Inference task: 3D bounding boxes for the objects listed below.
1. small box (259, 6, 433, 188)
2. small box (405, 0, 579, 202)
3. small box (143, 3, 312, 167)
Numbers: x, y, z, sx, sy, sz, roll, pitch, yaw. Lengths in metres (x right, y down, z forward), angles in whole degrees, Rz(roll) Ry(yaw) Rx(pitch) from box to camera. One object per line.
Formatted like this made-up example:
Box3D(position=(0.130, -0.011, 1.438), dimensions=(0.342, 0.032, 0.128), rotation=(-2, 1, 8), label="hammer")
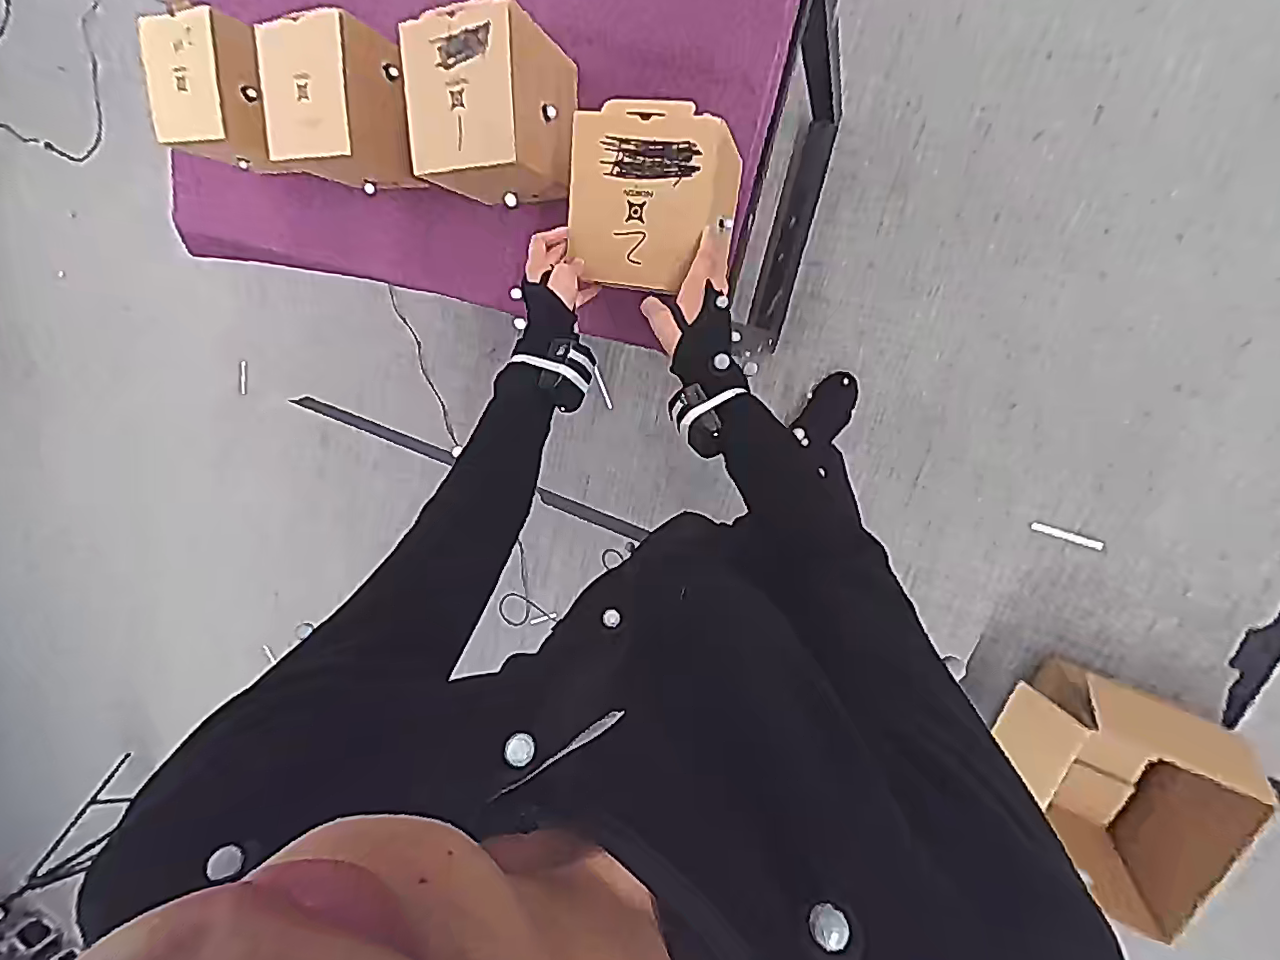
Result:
Box3D(position=(-0.438, -0.569, 0.829), dimensions=(0.168, 0.176, 0.179), rotation=(10, 106, 20), label="small box")
Box3D(position=(-0.193, -0.503, 0.746), dimensions=(0.168, 0.176, 0.179), rotation=(6, 106, 20), label="small box")
Box3D(position=(-0.670, -0.639, 0.902), dimensions=(0.168, 0.176, 0.179), rotation=(10, 106, 18), label="small box")
